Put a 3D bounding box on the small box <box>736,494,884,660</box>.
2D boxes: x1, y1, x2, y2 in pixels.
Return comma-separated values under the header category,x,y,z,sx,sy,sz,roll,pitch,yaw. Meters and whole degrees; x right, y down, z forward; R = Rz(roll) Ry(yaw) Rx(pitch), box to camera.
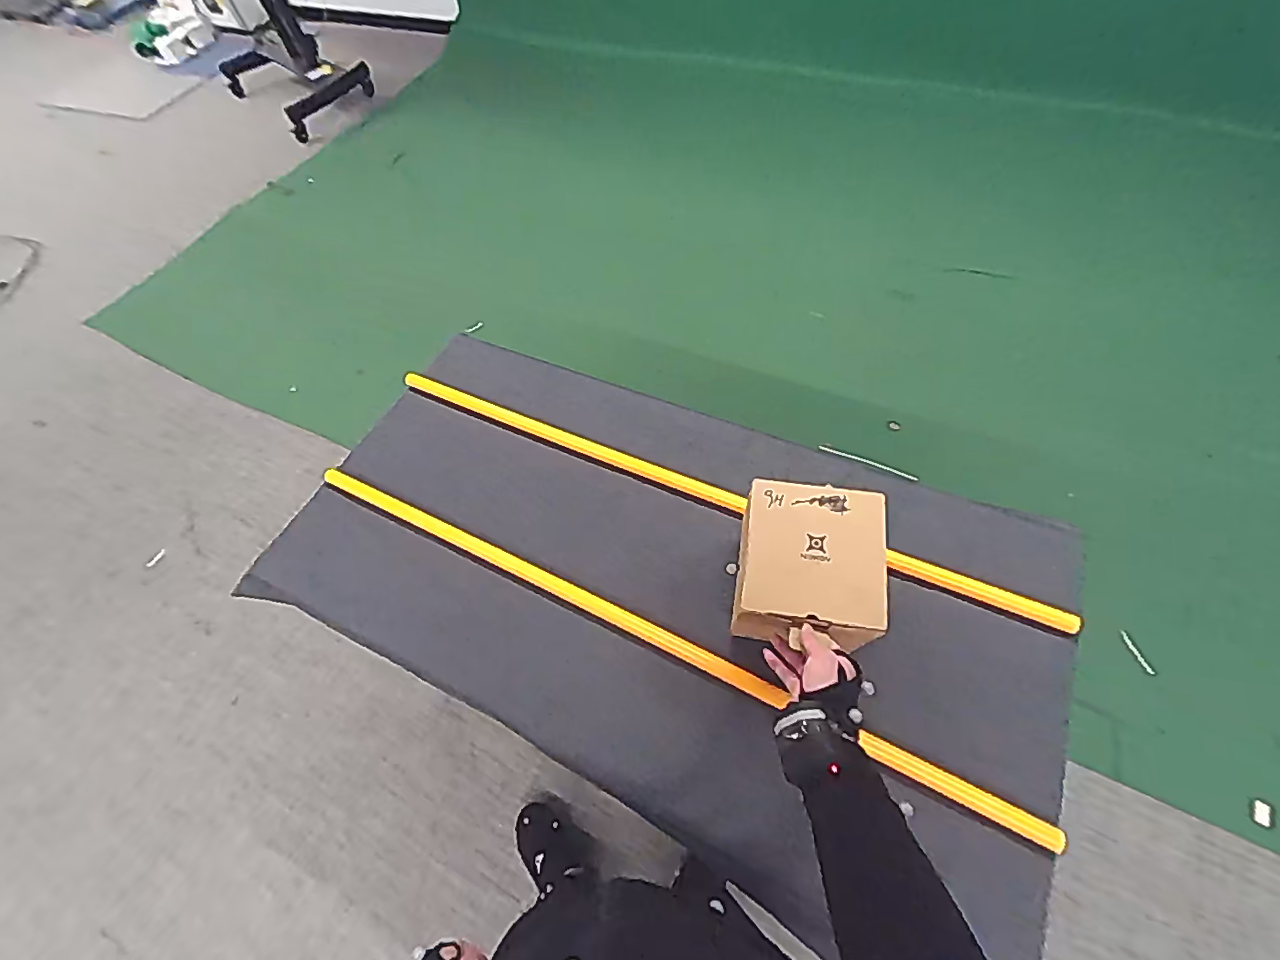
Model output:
category,x,y,z,sx,sy,sz,roll,pitch,yaw
small box,0.220,0.138,0.735,0.168,0.176,0.179,4,63,9
